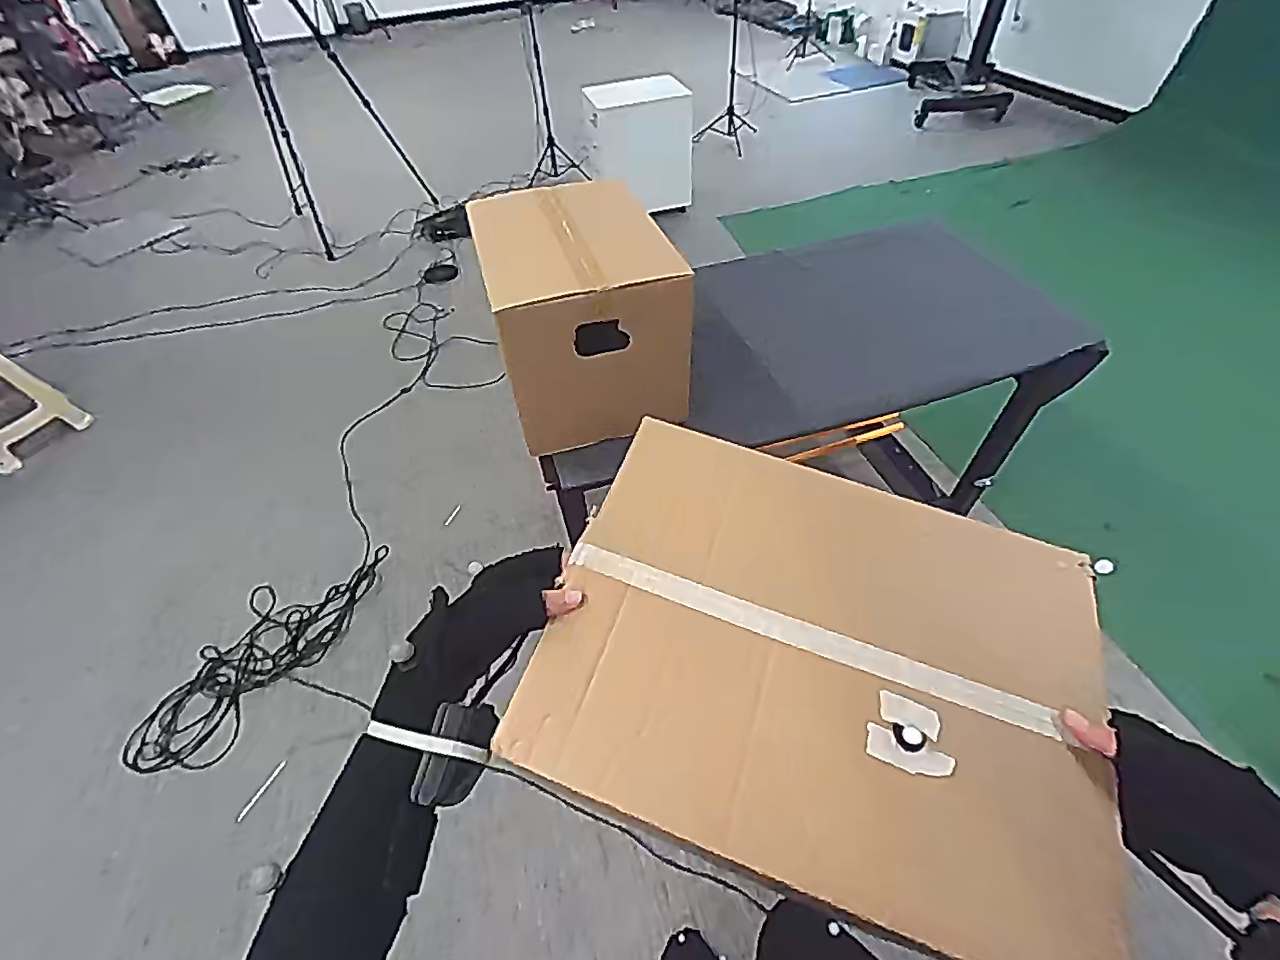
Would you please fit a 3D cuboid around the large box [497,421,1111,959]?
[{"bbox_3d":[0.126,0.200,0.540,0.408,0.320,0.320,19,59,8],"label":"large box"}]
